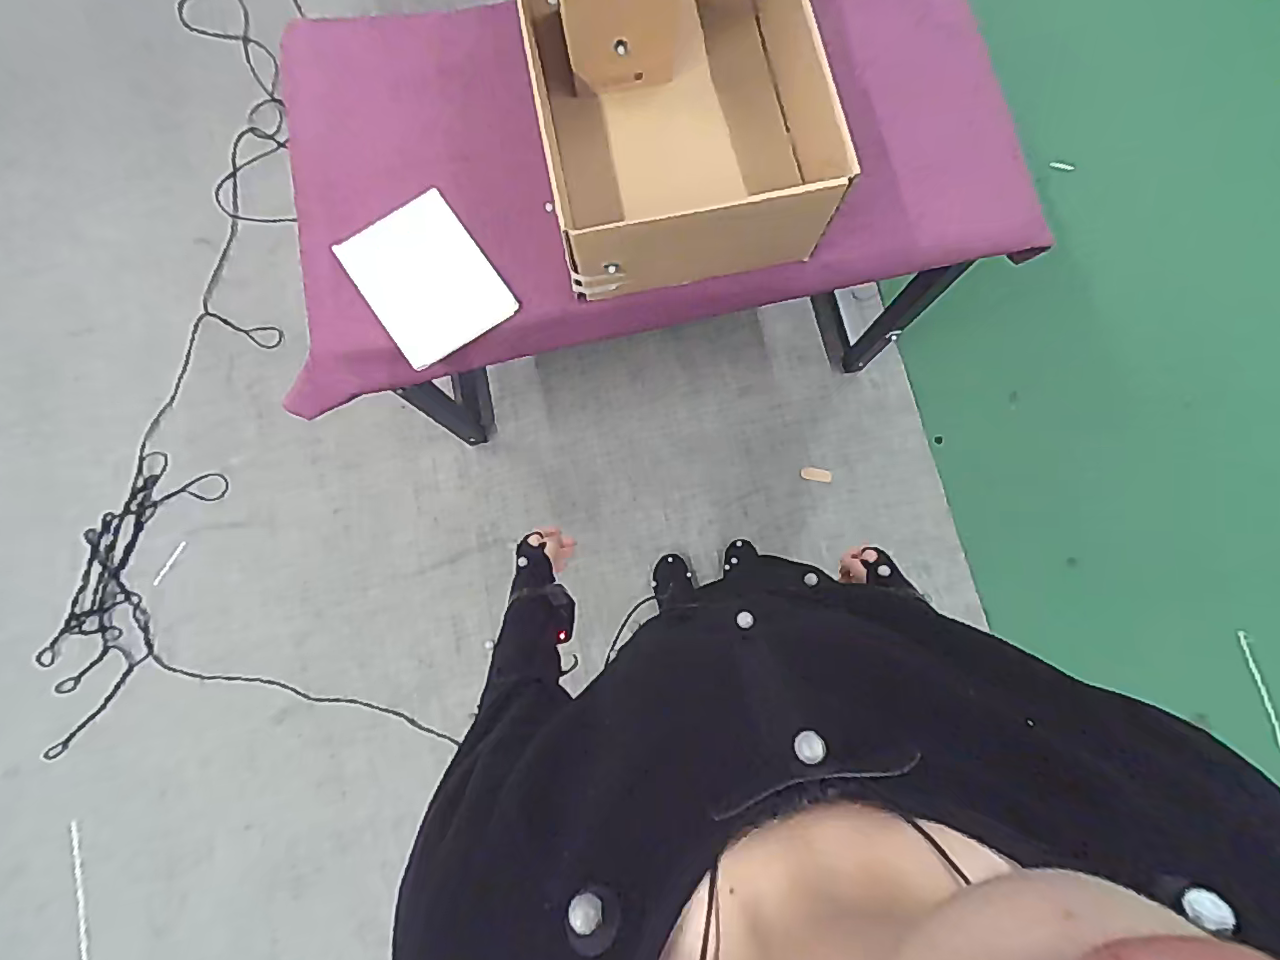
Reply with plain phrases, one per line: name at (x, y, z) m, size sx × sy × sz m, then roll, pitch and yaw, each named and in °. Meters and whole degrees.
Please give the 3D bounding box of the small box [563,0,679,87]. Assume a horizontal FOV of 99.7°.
small box at (-0.035, -0.737, 0.818) m, size 0.168 × 0.176 × 0.179 m, roll -11°, pitch 82°, yaw -1°
